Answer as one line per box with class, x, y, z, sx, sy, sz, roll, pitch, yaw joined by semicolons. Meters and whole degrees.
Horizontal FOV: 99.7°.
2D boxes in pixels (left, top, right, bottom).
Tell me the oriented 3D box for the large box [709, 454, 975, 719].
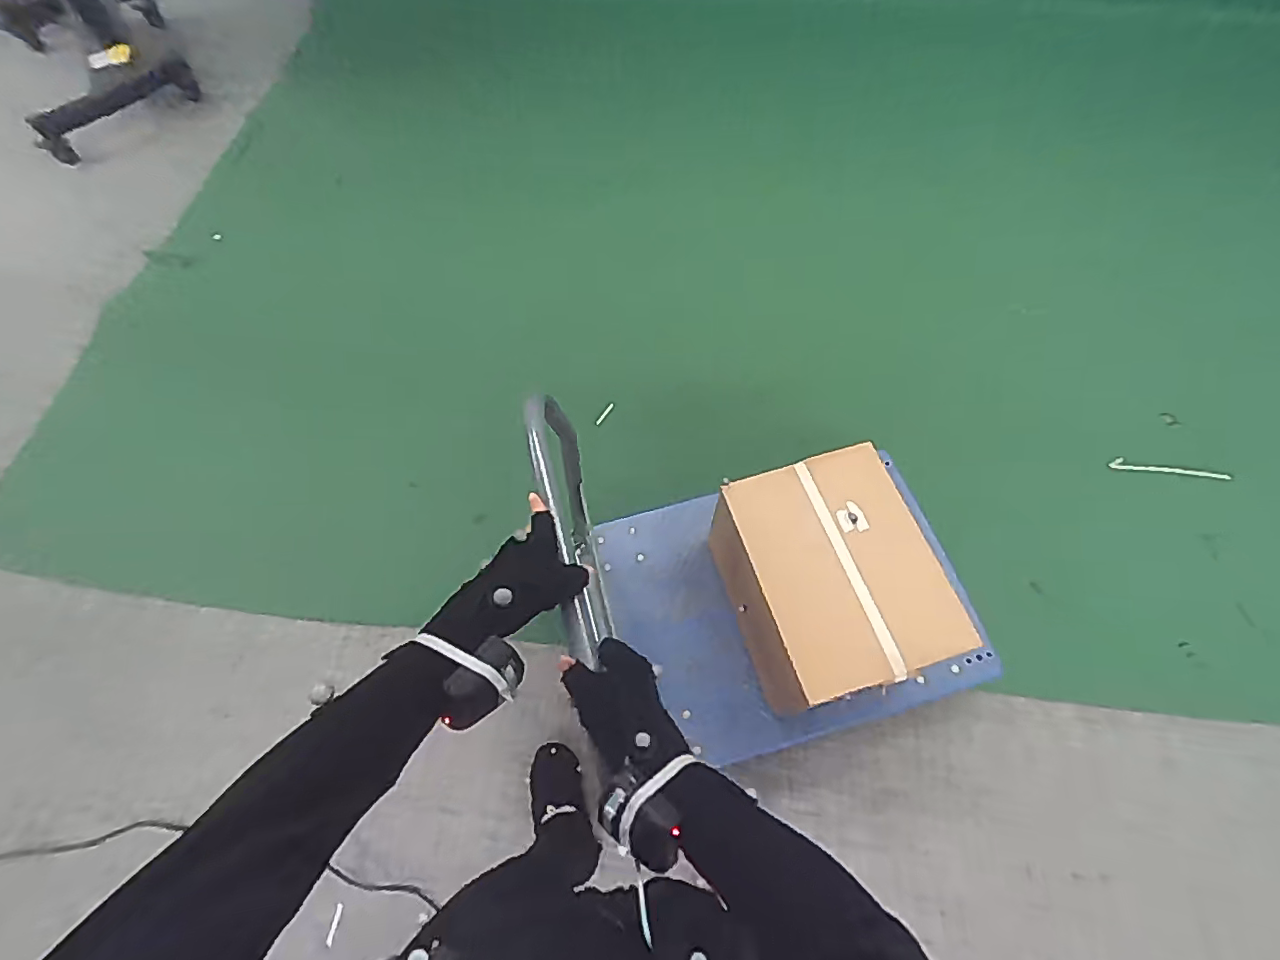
large box;0.359;0.224;1.095;0.320;0.320;0.408;-16;64;-7
